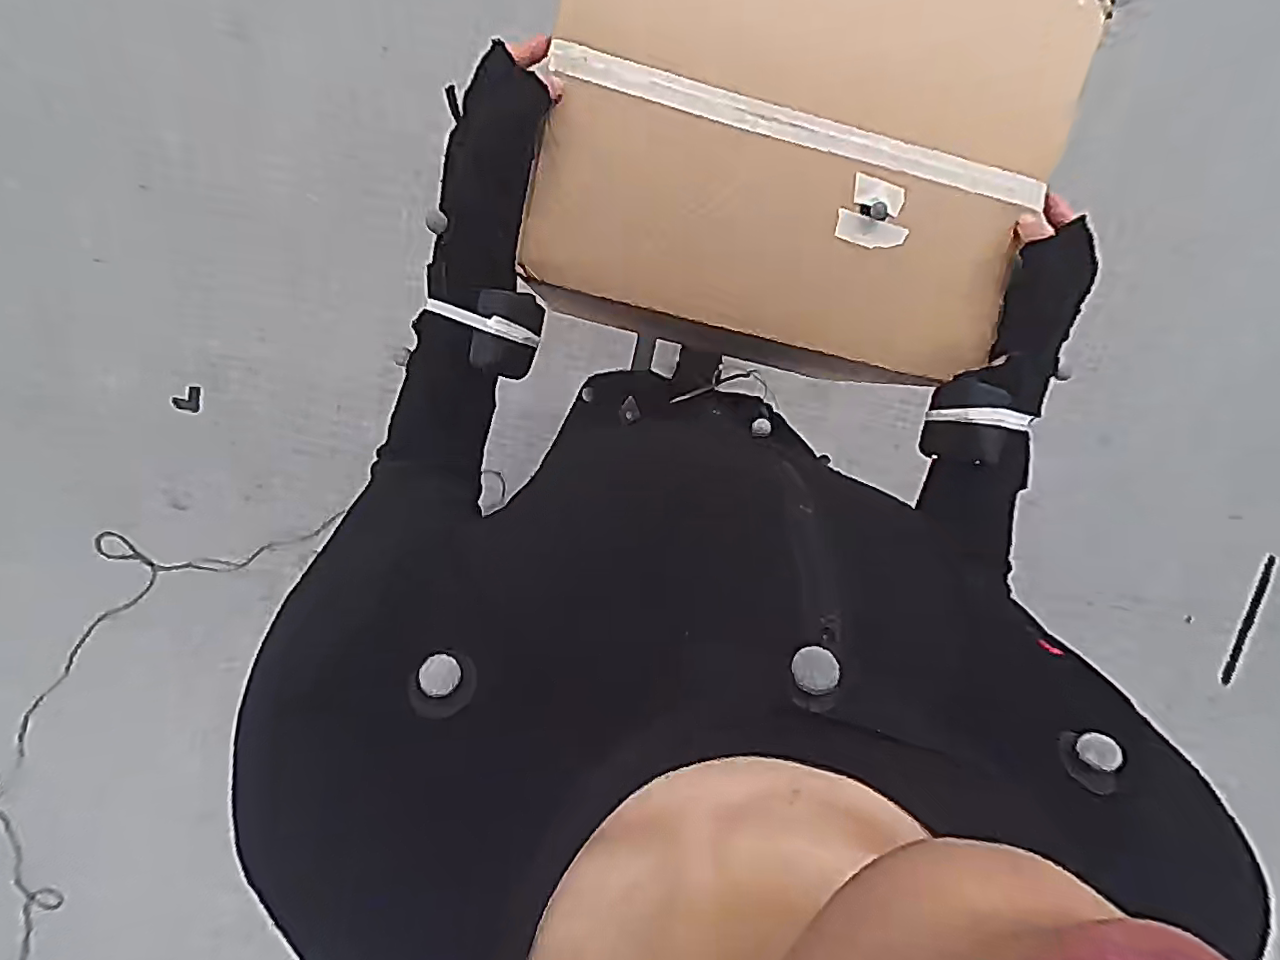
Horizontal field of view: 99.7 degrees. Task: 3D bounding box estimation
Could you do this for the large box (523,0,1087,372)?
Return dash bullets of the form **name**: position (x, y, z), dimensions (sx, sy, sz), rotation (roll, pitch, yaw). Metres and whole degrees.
- **large box**: position (0.115, -0.308, 0.571), dimensions (0.408, 0.320, 0.320), rotation (12, 102, -7)
